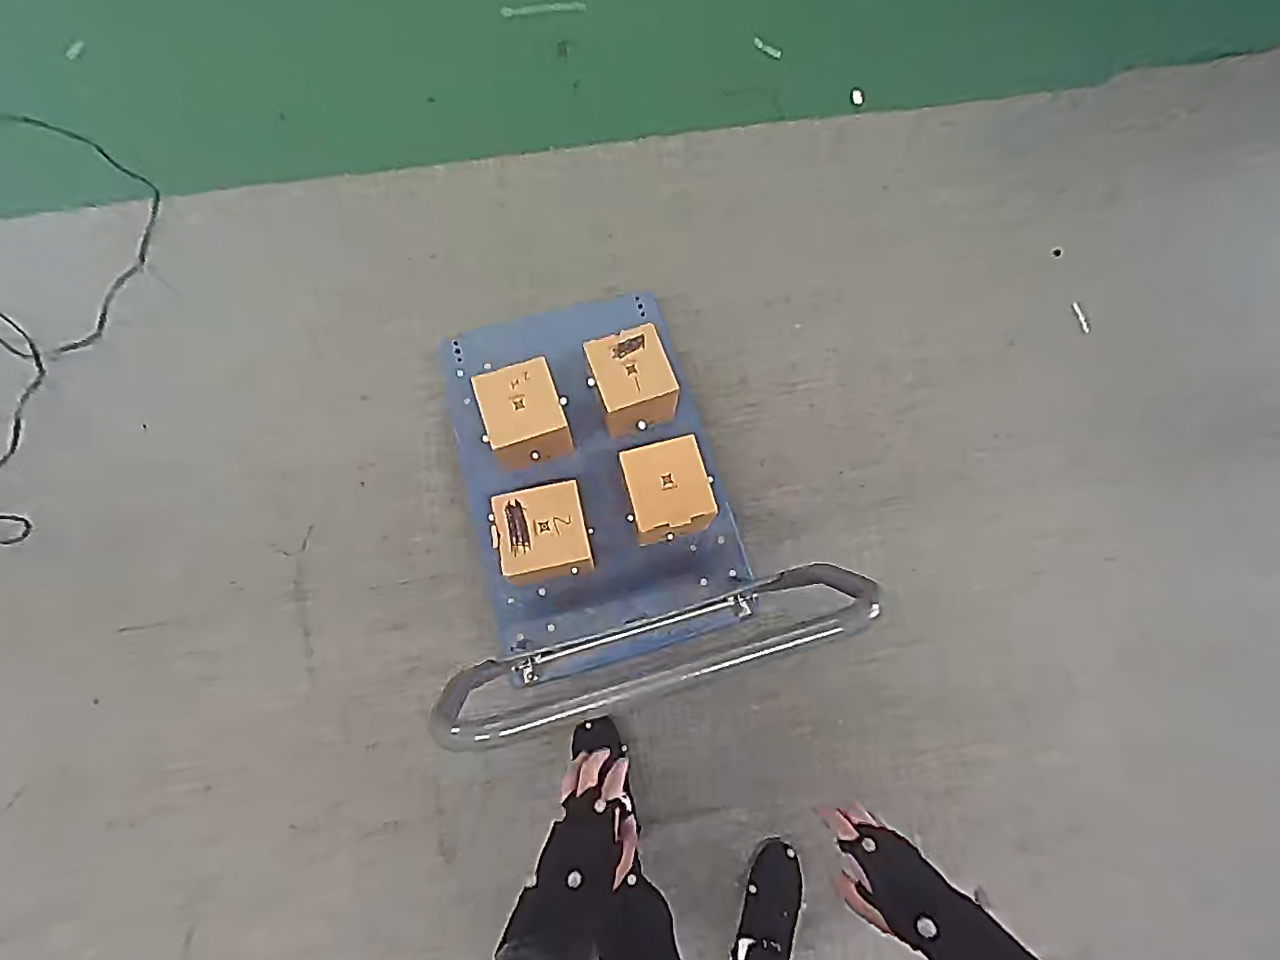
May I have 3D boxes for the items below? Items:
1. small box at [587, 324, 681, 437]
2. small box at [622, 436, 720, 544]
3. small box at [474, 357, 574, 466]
[{"bbox_3d":[-0.017,-0.224,1.244,0.168,0.176,0.179,-19,76,-6],"label":"small box"},{"bbox_3d":[0.058,0.027,1.176,0.168,0.176,0.179,-14,75,-6],"label":"small box"},{"bbox_3d":[-0.254,-0.142,1.216,0.168,0.176,0.179,-18,75,-7],"label":"small box"}]
